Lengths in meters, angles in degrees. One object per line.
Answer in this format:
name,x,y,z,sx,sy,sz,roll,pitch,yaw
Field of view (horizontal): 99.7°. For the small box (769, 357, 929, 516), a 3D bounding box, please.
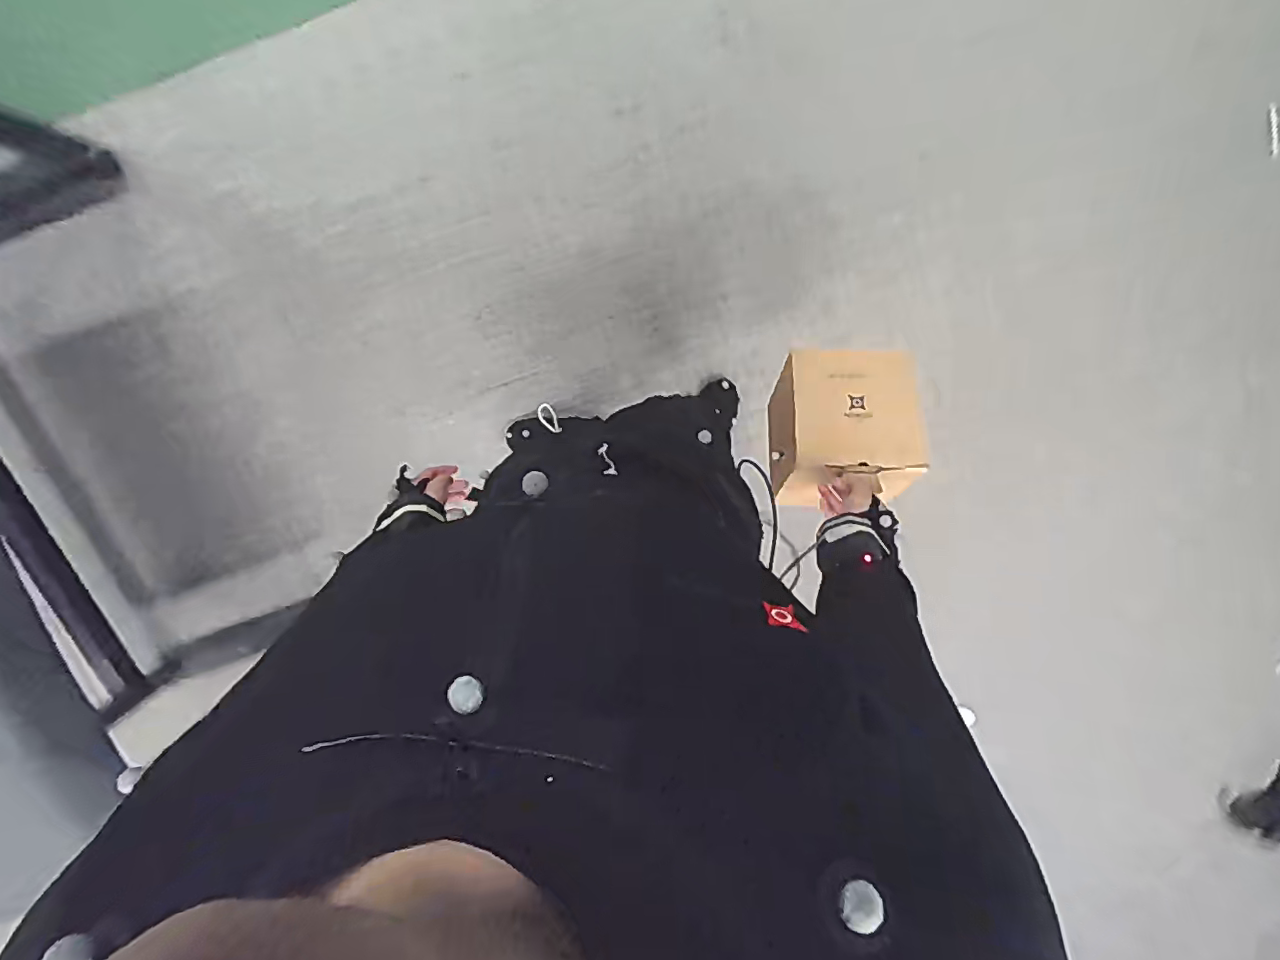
small box,0.286,-0.055,0.779,0.168,0.176,0.179,3,67,1
